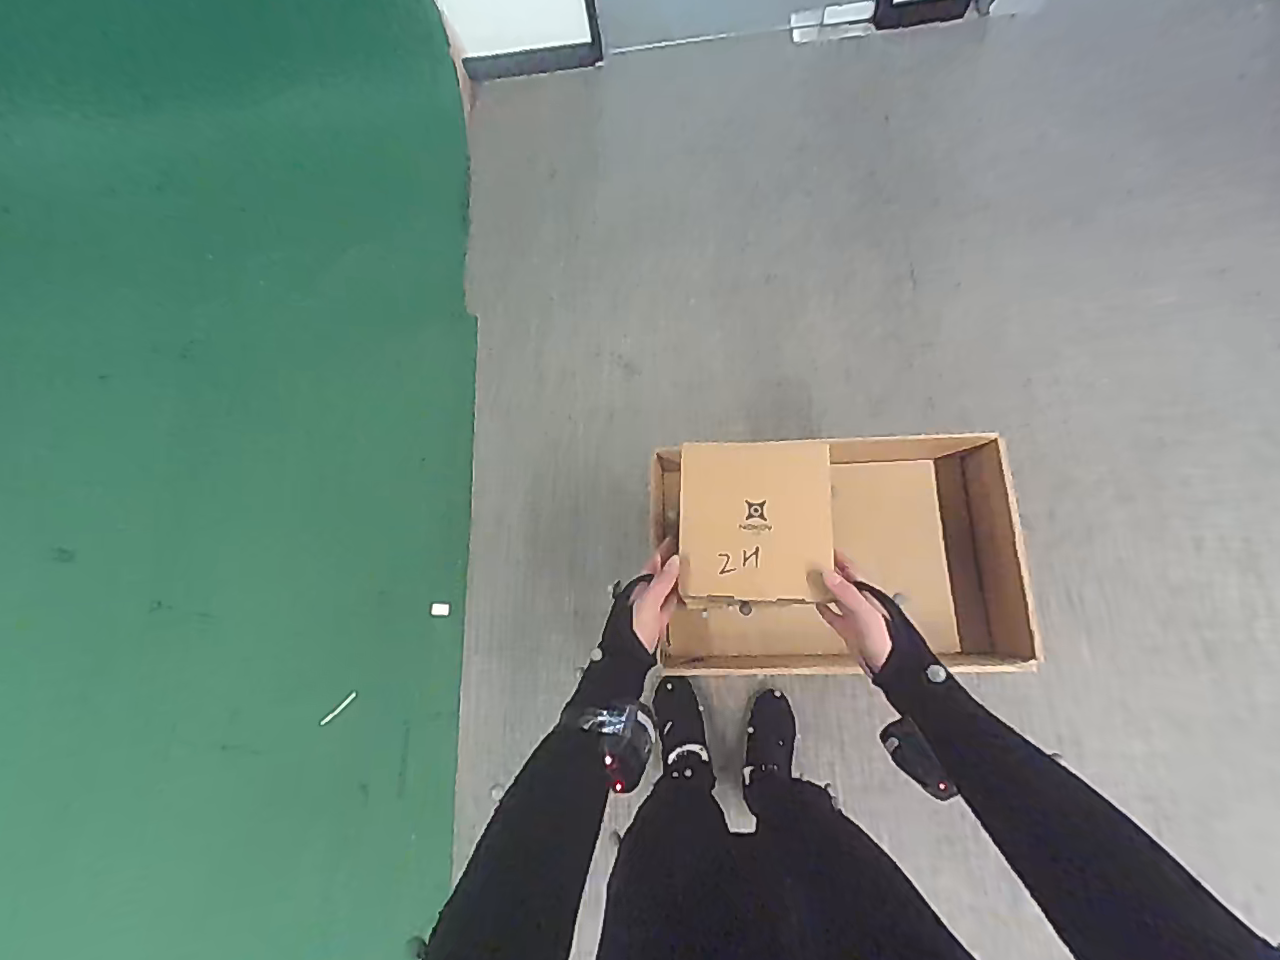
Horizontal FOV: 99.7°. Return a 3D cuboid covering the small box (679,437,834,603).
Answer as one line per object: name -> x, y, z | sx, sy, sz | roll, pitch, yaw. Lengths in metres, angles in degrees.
small box -> 0.135, 0.057, 0.670 | 0.168, 0.176, 0.179 | 1, 76, 7
